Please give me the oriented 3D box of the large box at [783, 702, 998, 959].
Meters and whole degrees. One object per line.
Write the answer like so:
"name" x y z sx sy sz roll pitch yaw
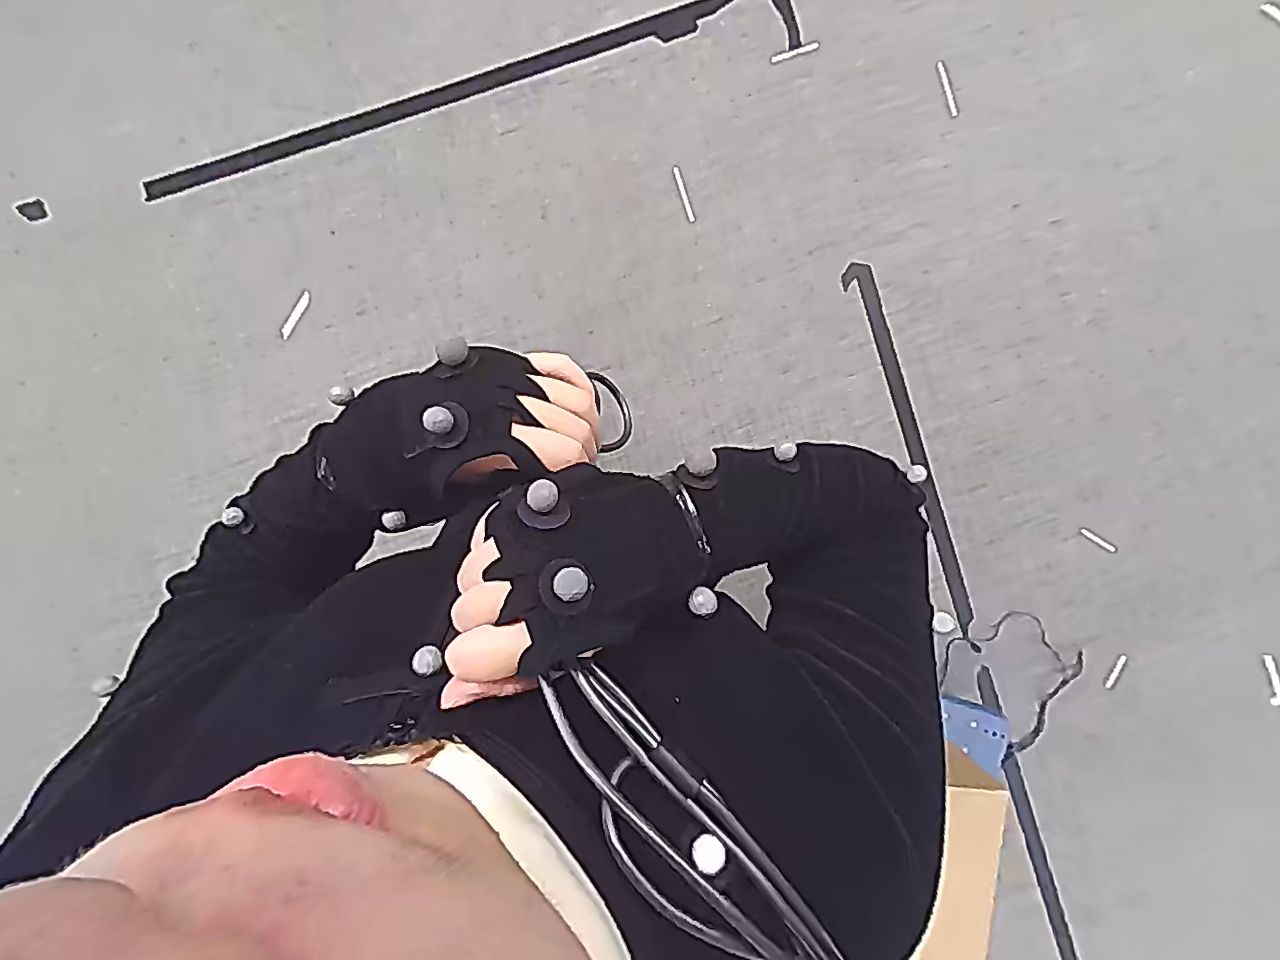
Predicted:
"large box" 0.542 0.773 1.235 0.320 0.320 0.408 7 93 -3
